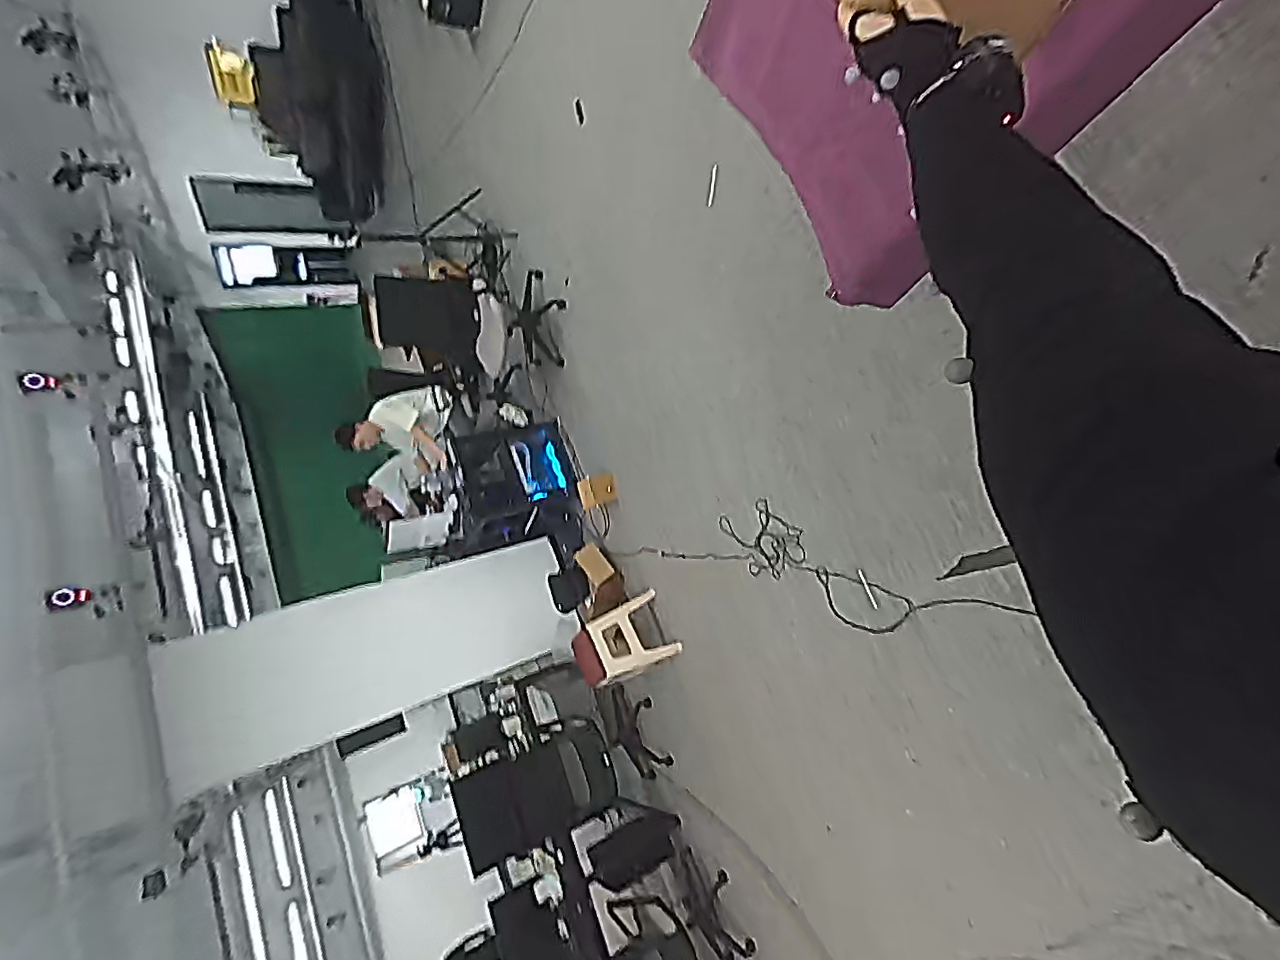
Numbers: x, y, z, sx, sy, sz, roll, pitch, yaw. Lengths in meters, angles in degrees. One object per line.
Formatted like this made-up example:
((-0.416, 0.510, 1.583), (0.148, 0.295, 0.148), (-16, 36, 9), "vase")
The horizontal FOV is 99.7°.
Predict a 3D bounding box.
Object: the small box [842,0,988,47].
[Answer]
((0.296, -0.597, 0.563), (0.168, 0.176, 0.179), (124, 140, -49), "small box")
